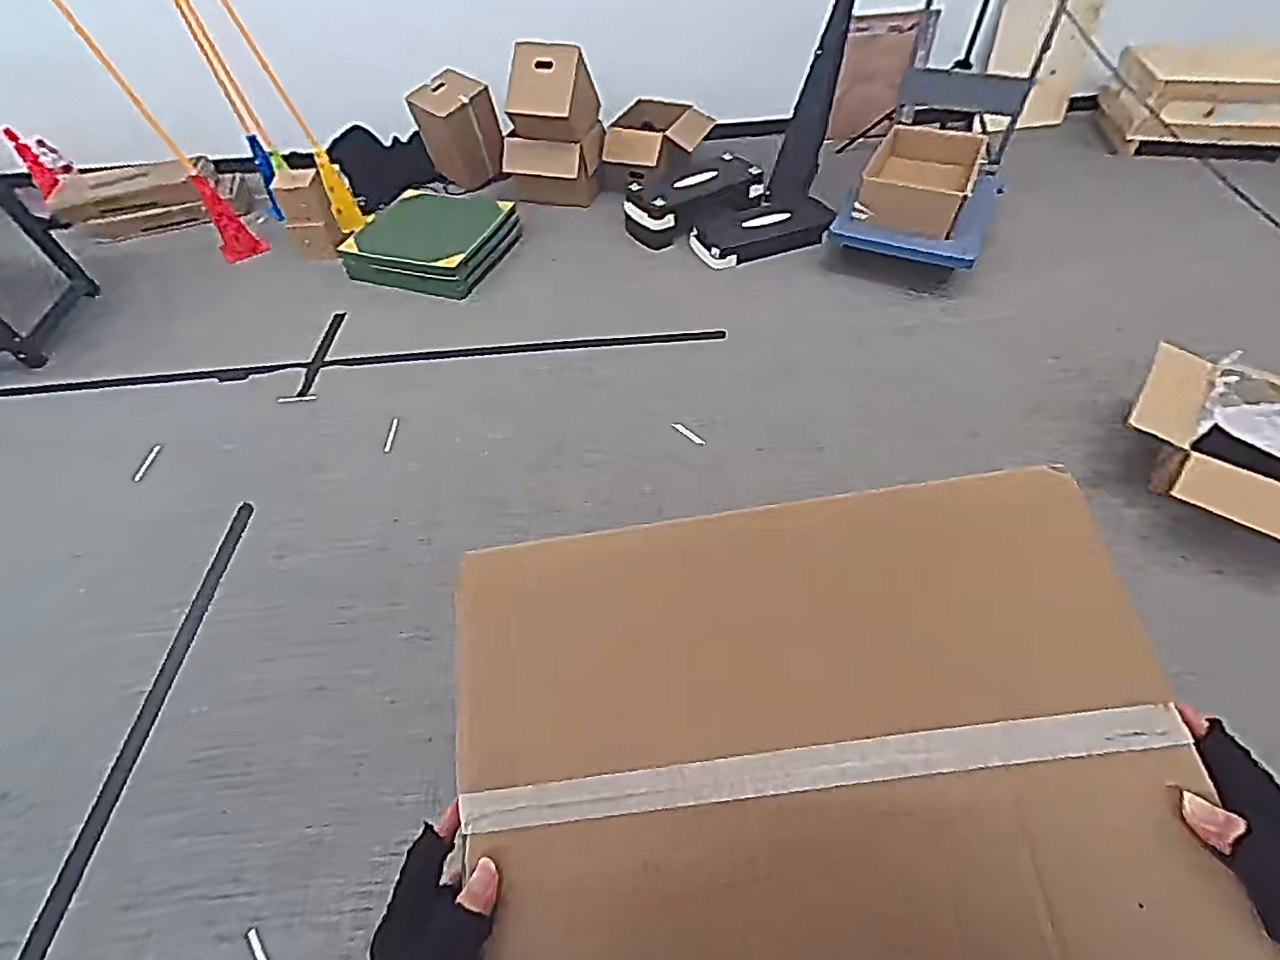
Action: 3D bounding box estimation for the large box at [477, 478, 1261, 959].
[{"bbox_3d":[0.114,0.223,0.456,0.408,0.320,0.320,-9,70,3],"label":"large box"}]
